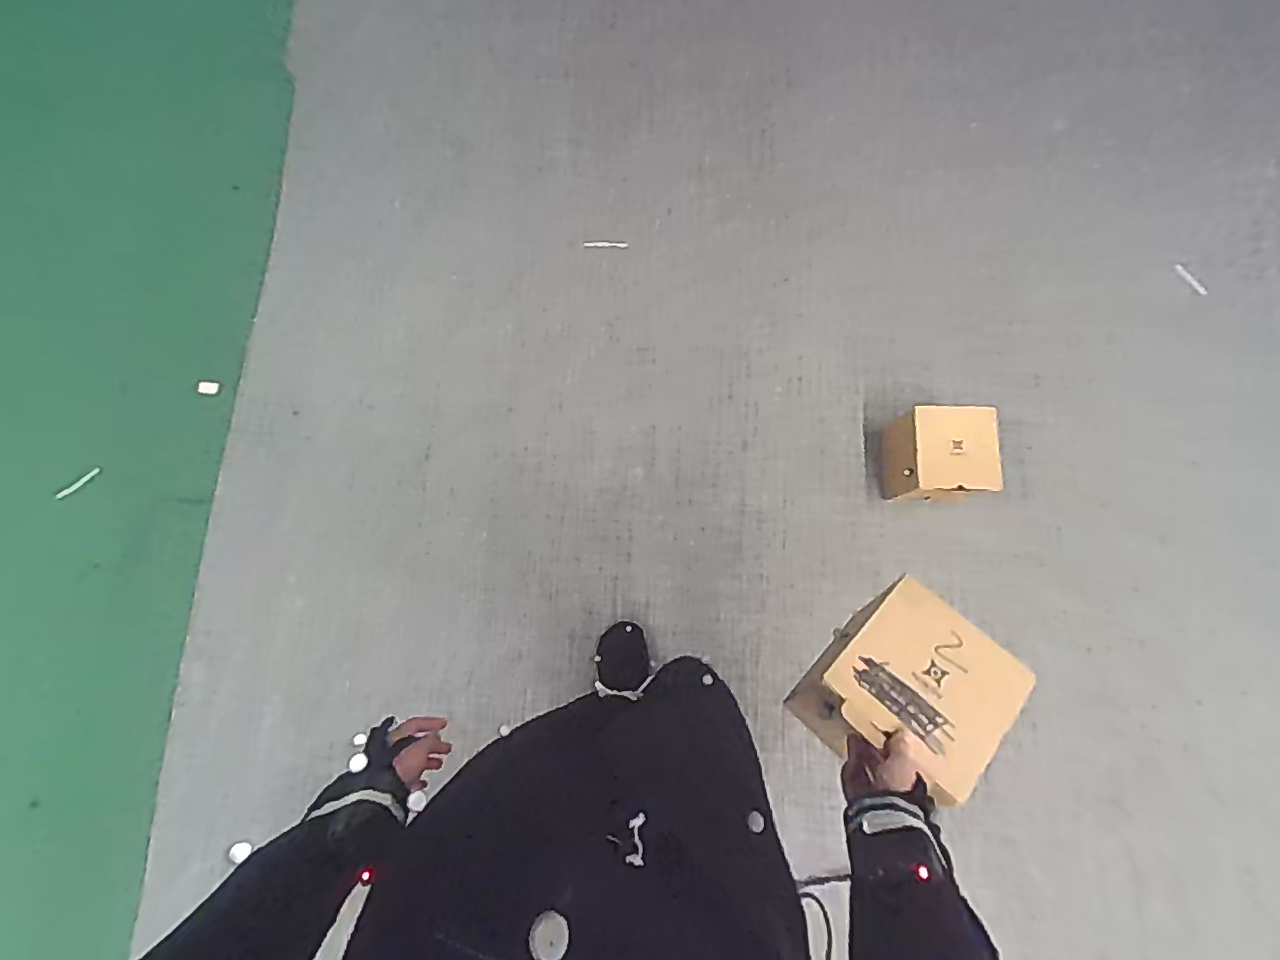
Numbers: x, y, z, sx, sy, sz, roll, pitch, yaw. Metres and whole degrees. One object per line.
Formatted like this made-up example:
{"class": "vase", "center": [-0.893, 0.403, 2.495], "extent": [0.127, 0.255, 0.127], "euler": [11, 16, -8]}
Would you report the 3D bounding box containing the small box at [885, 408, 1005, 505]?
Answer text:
{"class": "small box", "center": [0.642, -0.046, 1.161], "extent": [0.168, 0.176, 0.179], "euler": [1, 80, 2]}
